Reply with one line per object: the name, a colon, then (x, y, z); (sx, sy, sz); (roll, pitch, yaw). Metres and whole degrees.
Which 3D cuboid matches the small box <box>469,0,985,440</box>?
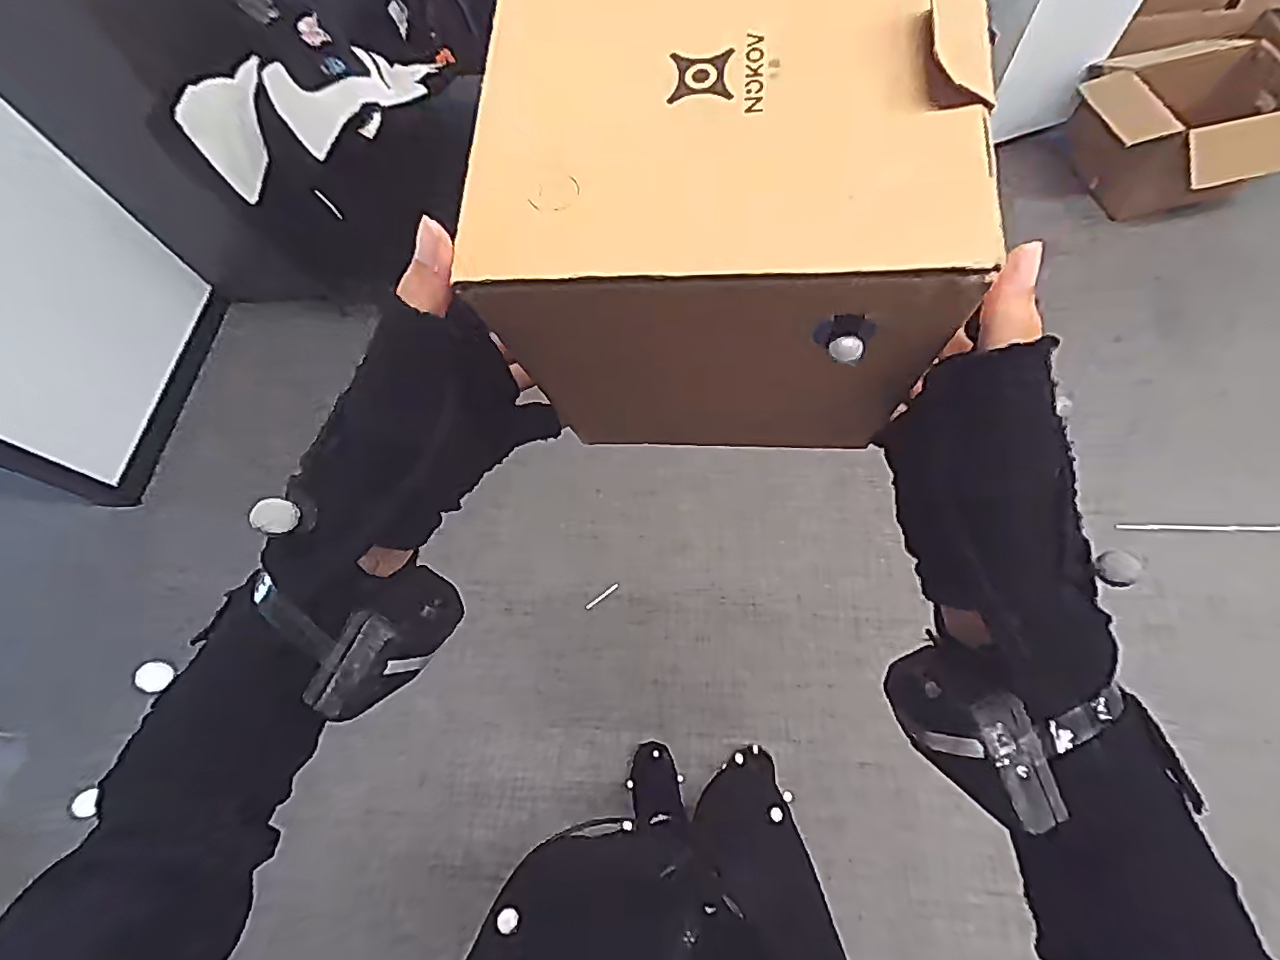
small box: (0.040, -0.124, 0.279); (0.179, 0.176, 0.168); (2, 75, 8)
